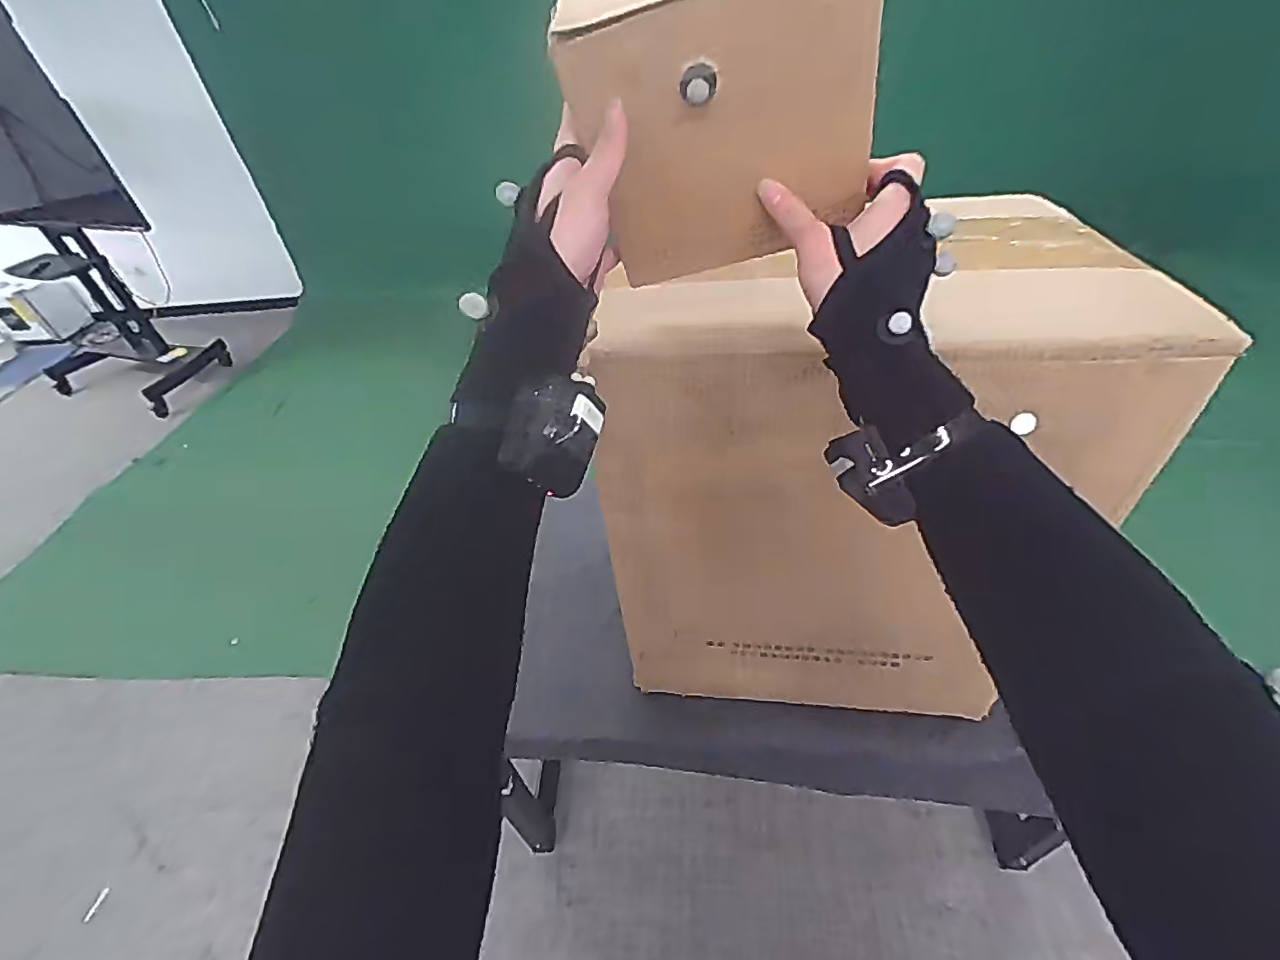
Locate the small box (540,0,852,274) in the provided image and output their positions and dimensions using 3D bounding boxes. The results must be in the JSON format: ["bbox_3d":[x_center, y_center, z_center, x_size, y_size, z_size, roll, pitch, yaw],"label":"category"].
[{"bbox_3d":[0.052,-0.277,0.392,0.179,0.176,0.168,-6,59,15],"label":"small box"}]
